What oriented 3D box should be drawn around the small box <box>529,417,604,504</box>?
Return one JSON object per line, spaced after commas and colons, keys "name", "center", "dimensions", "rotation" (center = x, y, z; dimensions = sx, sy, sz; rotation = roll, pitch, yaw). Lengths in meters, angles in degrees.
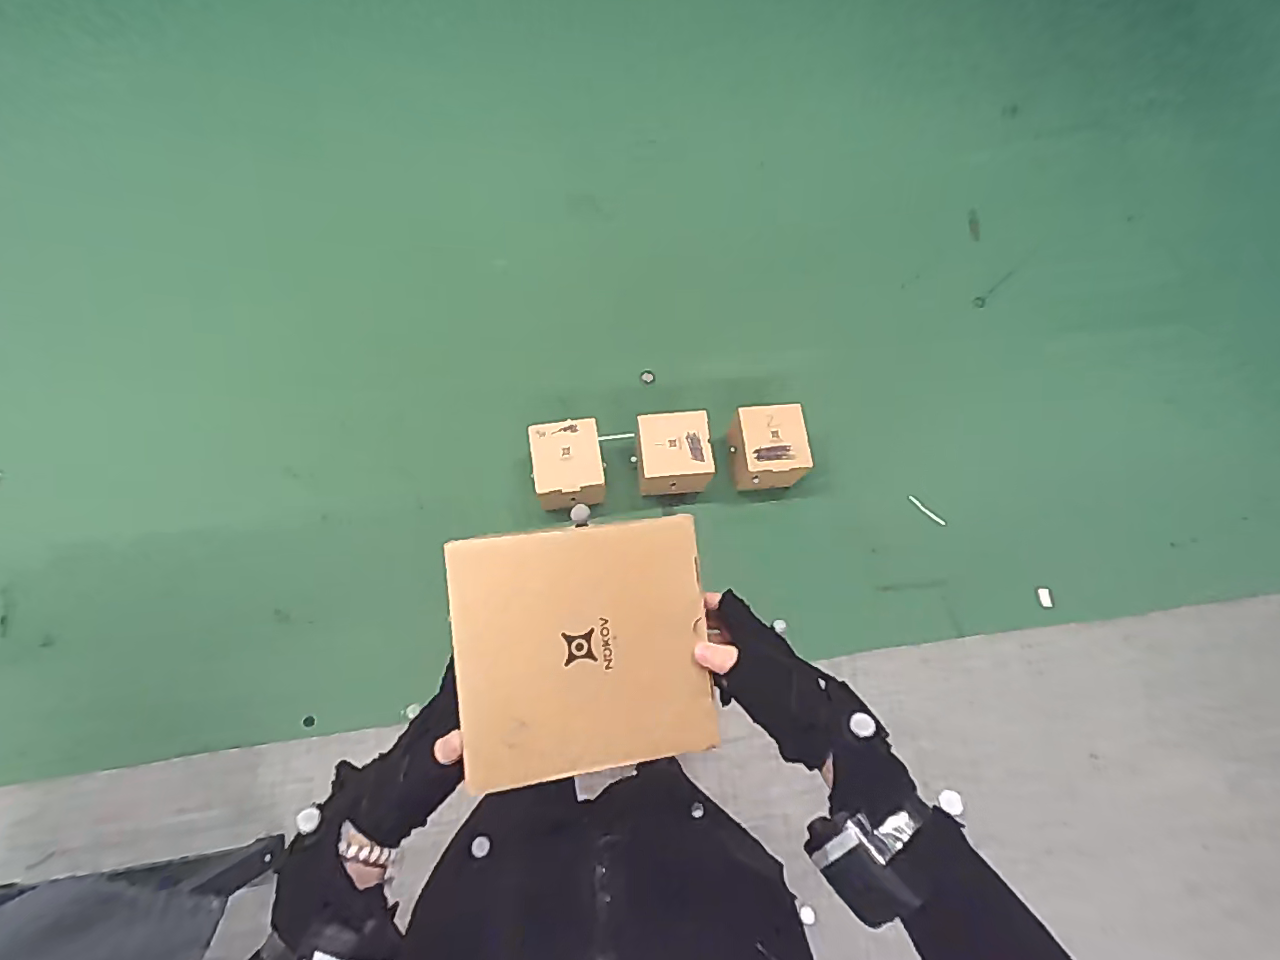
{"name": "small box", "center": [-0.180, -0.042, 1.361], "dimensions": [0.168, 0.176, 0.179], "rotation": [-8, 75, -6]}
